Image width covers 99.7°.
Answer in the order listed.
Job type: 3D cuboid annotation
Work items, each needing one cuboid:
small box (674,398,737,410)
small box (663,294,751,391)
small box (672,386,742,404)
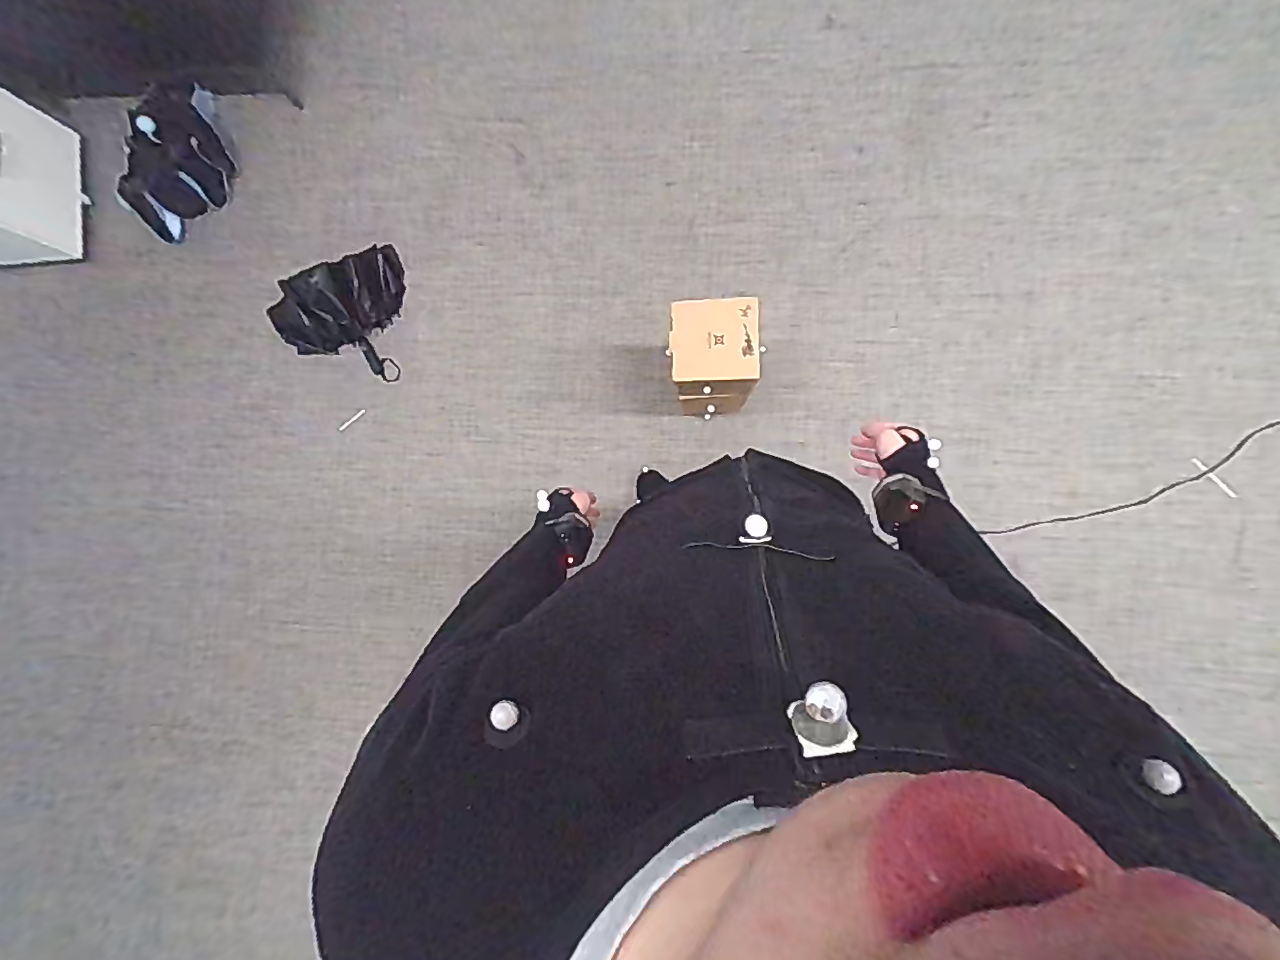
[{"bbox_3d":[0.176,-0.294,1.491,0.168,0.176,0.179,-2,91,6],"label":"small box"},{"bbox_3d":[0.144,-0.288,1.165,0.179,0.176,0.168,0,89,6],"label":"small box"},{"bbox_3d":[0.159,-0.288,1.327,0.168,0.176,0.179,-2,90,6],"label":"small box"}]
